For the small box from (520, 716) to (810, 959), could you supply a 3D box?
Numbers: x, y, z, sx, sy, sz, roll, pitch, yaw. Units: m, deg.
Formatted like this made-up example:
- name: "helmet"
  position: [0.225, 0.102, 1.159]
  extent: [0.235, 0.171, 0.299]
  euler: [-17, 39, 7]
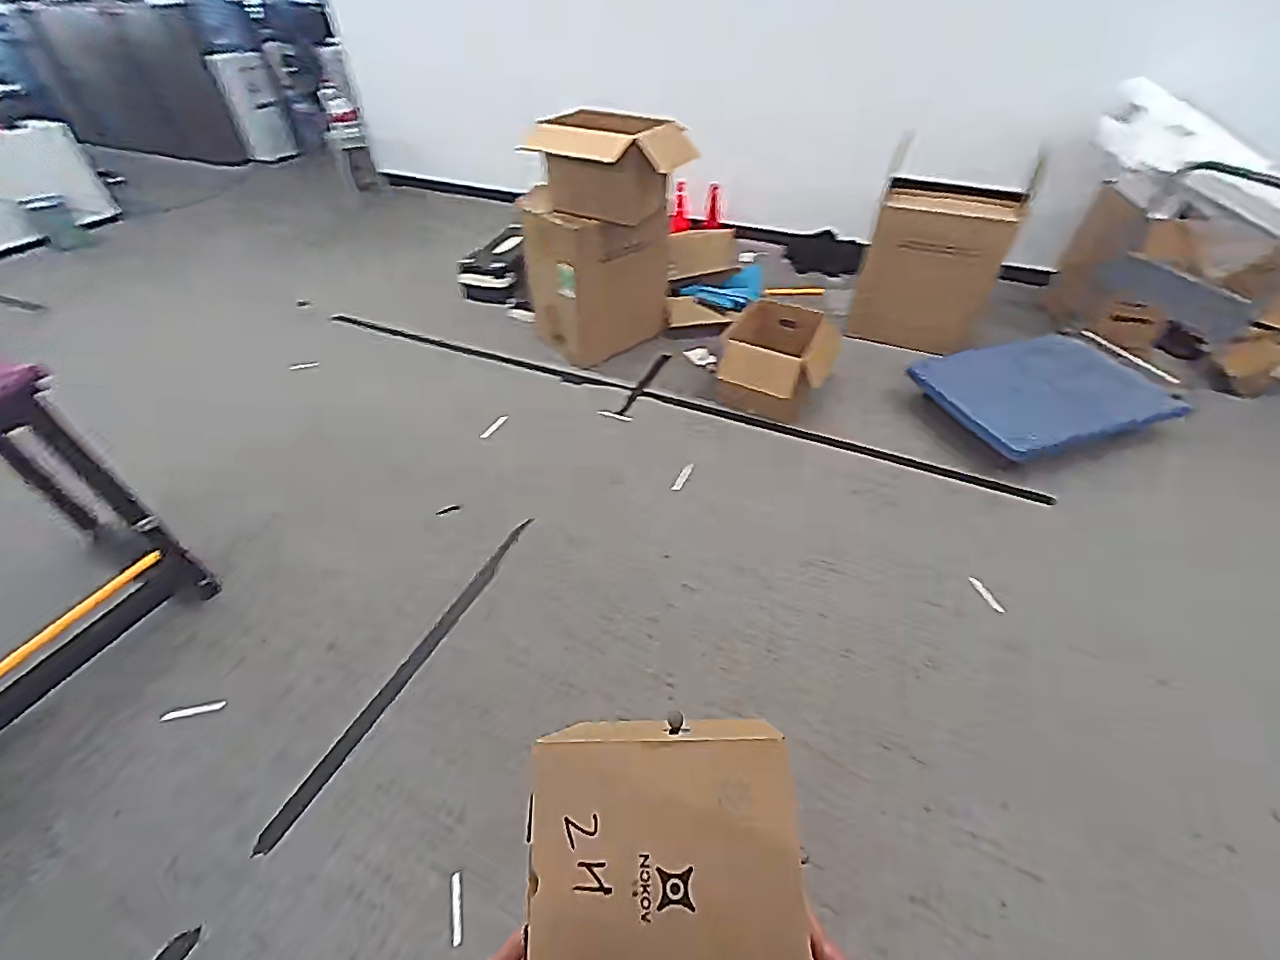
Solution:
- name: "small box"
  position: [0.020, 0.275, 0.409]
  extent: [0.179, 0.176, 0.168]
  euler: [-5, 69, 6]
